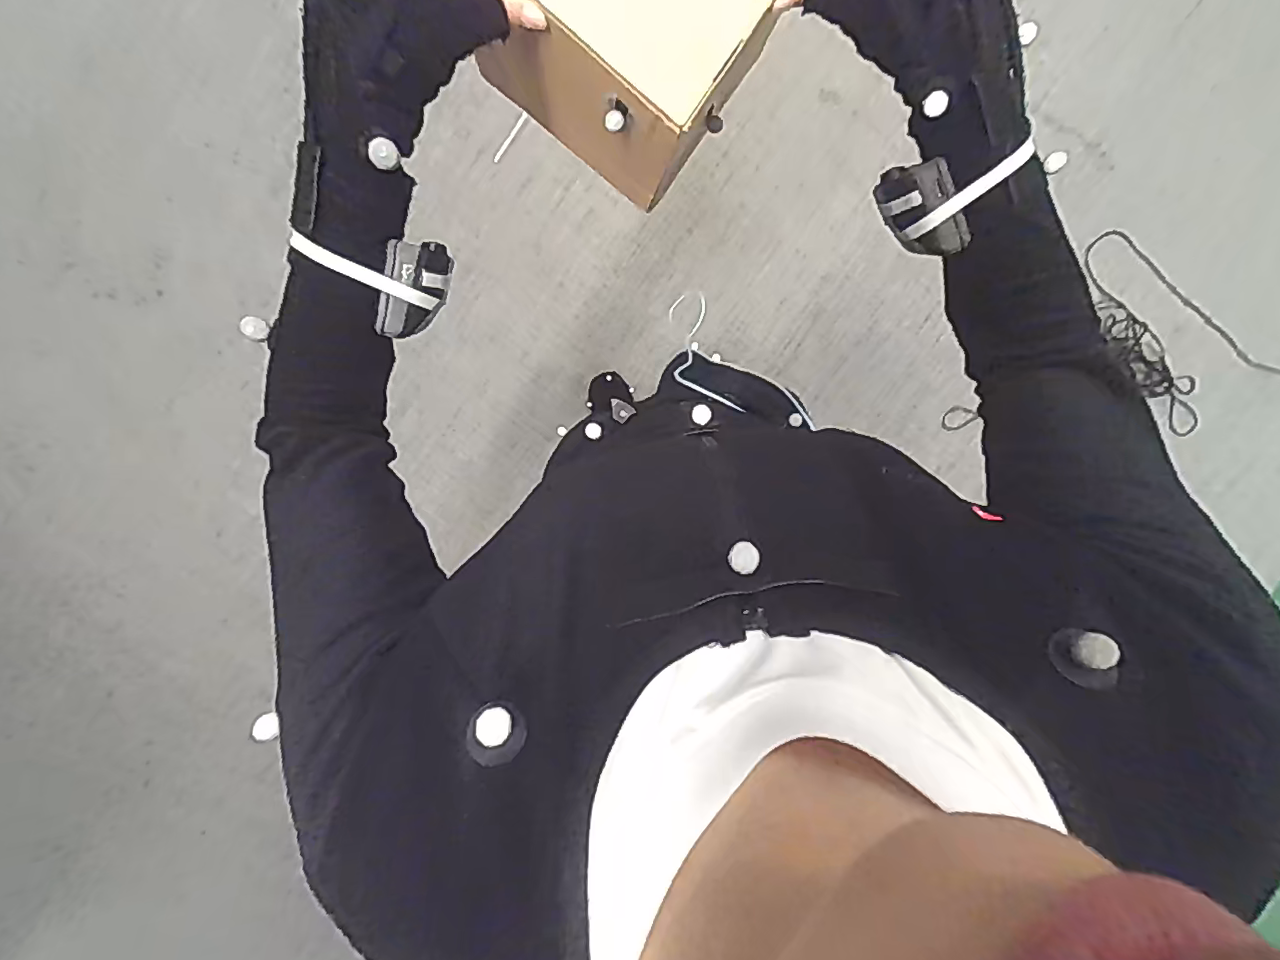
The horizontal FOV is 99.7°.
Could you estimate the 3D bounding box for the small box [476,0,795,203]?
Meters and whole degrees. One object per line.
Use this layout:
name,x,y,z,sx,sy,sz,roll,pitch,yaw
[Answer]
small box,-0.003,-0.335,0.382,0.179,0.176,0.168,36,95,-12
